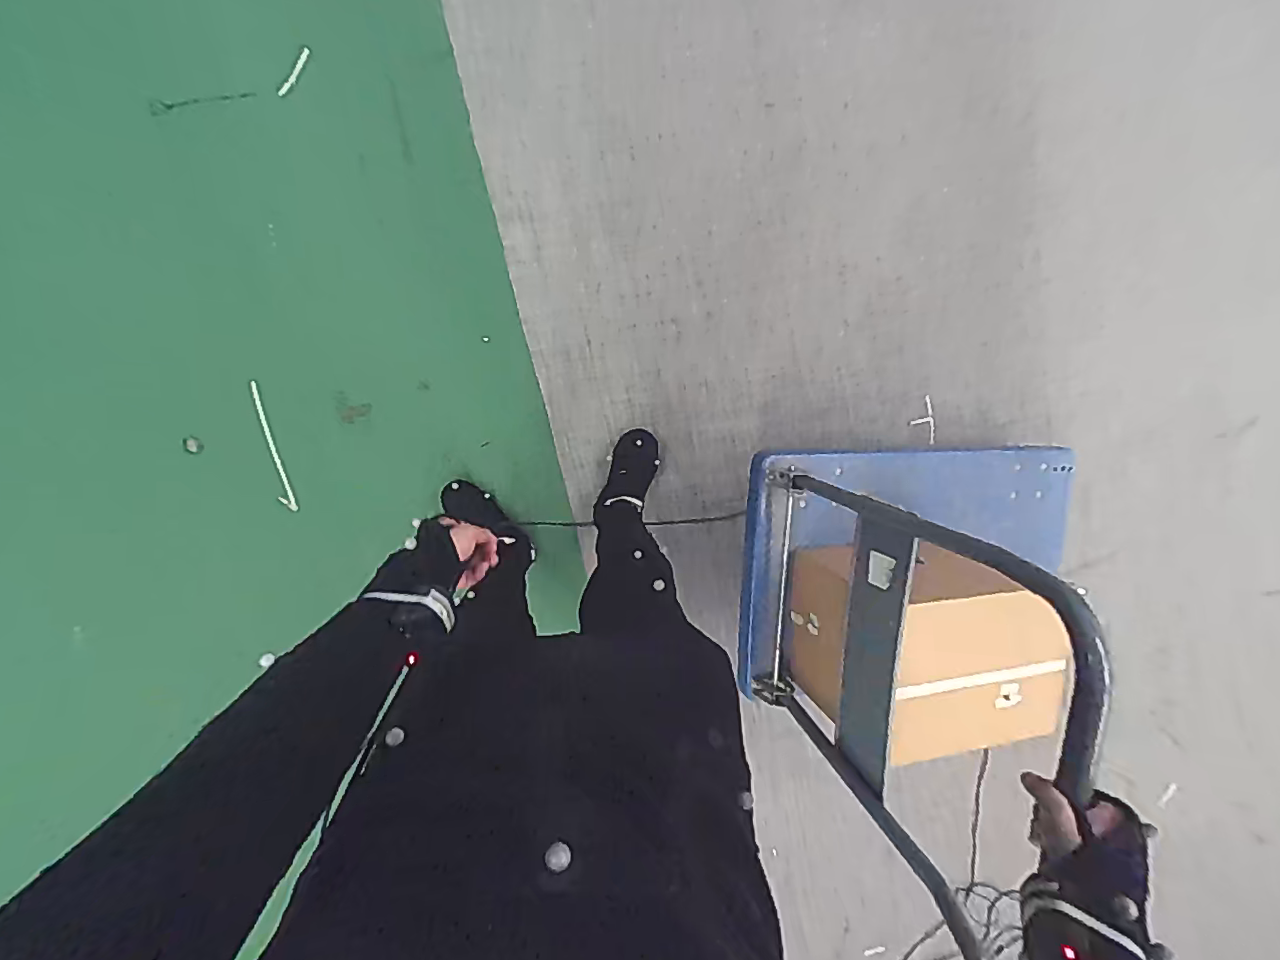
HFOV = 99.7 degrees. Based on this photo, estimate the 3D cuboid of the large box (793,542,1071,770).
[{"bbox_3d":[0.572,0.328,1.120,0.408,0.320,0.320,-3,102,-15],"label":"large box"}]
